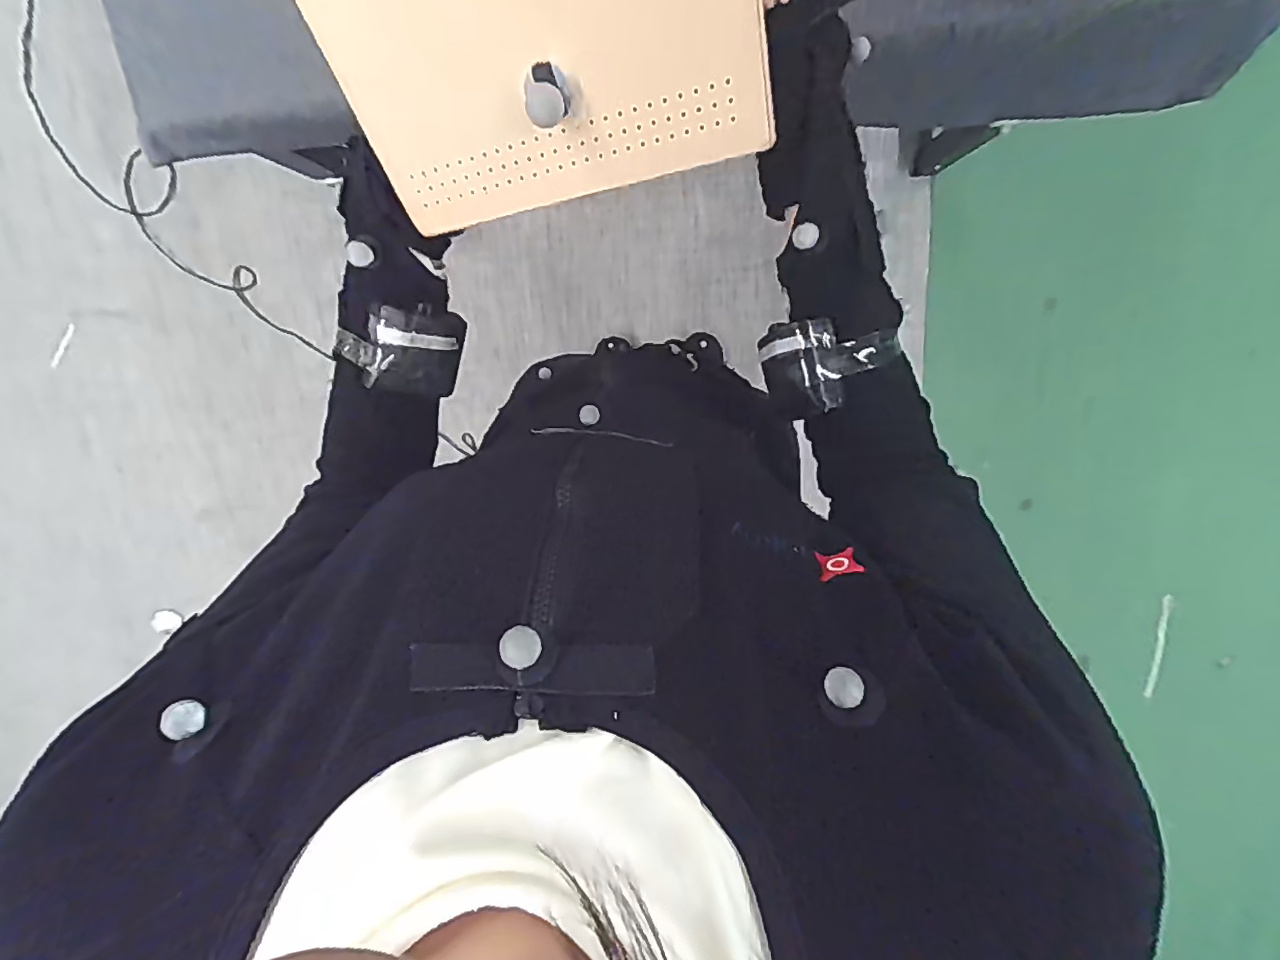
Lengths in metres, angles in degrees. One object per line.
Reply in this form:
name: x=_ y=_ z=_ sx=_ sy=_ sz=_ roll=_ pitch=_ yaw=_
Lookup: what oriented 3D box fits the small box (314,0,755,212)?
small box: x=-0.039 y=-0.253 z=0.254 sx=0.179 sy=0.168 sz=0.176 roll=-5 pitch=133 yaw=16
